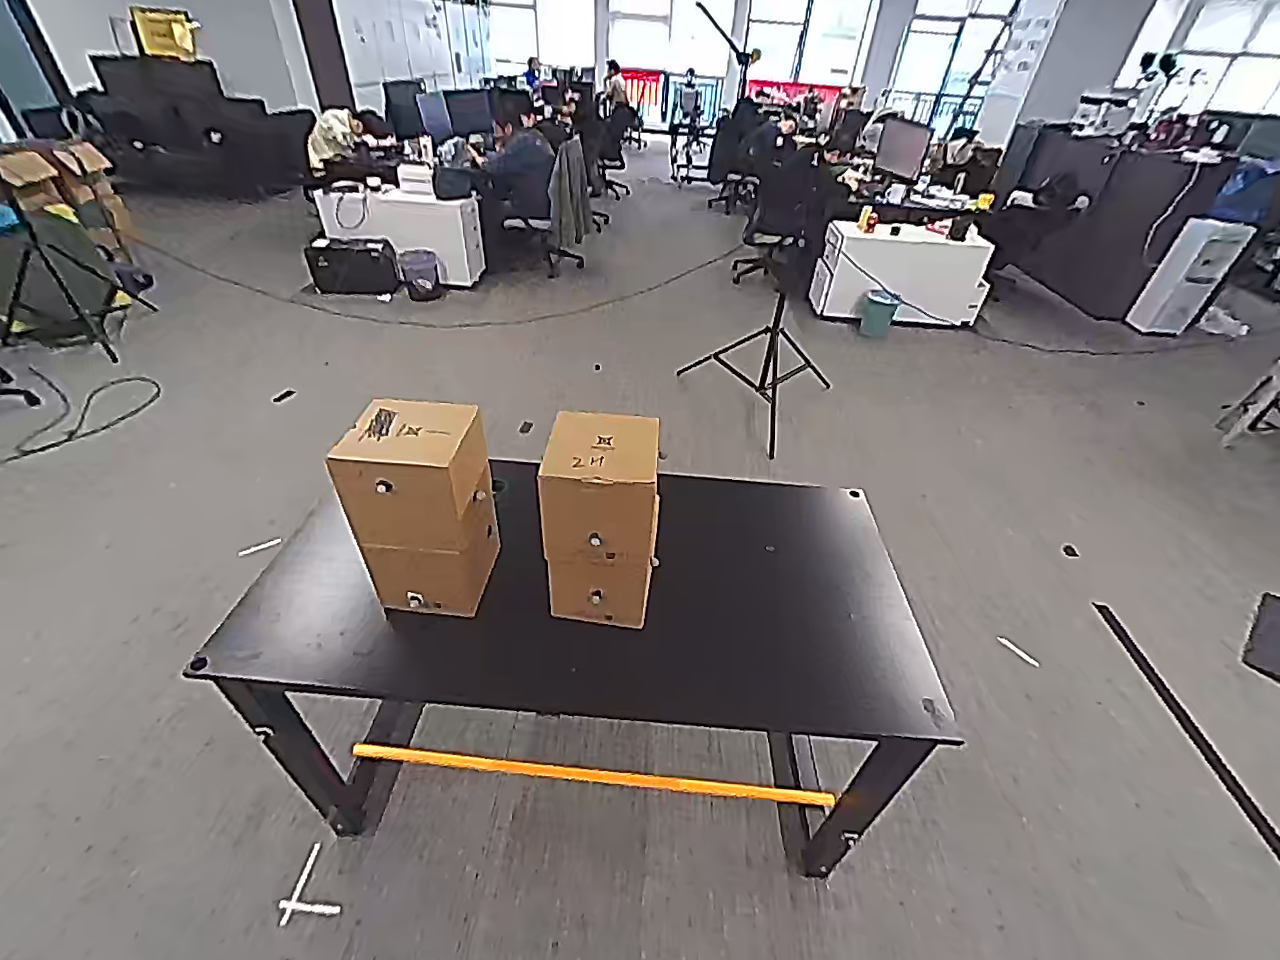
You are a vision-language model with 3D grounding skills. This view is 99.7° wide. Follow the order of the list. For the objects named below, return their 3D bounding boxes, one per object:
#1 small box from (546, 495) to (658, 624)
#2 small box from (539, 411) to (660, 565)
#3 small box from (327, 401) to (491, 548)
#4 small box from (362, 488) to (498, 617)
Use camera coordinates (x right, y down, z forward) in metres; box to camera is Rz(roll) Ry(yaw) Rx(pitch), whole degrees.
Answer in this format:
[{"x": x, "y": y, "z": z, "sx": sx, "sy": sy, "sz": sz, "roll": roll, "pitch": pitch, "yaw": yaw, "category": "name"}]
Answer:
[{"x": -0.061, "y": 0.135, "z": 0.970, "sx": 0.168, "sy": 0.176, "sz": 0.179, "roll": 7, "pitch": 39, "yaw": 4, "category": "small box"}, {"x": -0.059, "y": 0.011, "z": 0.860, "sx": 0.168, "sy": 0.176, "sz": 0.179, "roll": 4, "pitch": 39, "yaw": 1, "category": "small box"}, {"x": -0.351, "y": -0.009, "z": 0.861, "sx": 0.179, "sy": 0.176, "sz": 0.168, "roll": 4, "pitch": 39, "yaw": 0, "category": "small box"}, {"x": -0.359, "y": 0.119, "z": 0.965, "sx": 0.168, "sy": 0.176, "sz": 0.179, "roll": 4, "pitch": 39, "yaw": 1, "category": "small box"}]
